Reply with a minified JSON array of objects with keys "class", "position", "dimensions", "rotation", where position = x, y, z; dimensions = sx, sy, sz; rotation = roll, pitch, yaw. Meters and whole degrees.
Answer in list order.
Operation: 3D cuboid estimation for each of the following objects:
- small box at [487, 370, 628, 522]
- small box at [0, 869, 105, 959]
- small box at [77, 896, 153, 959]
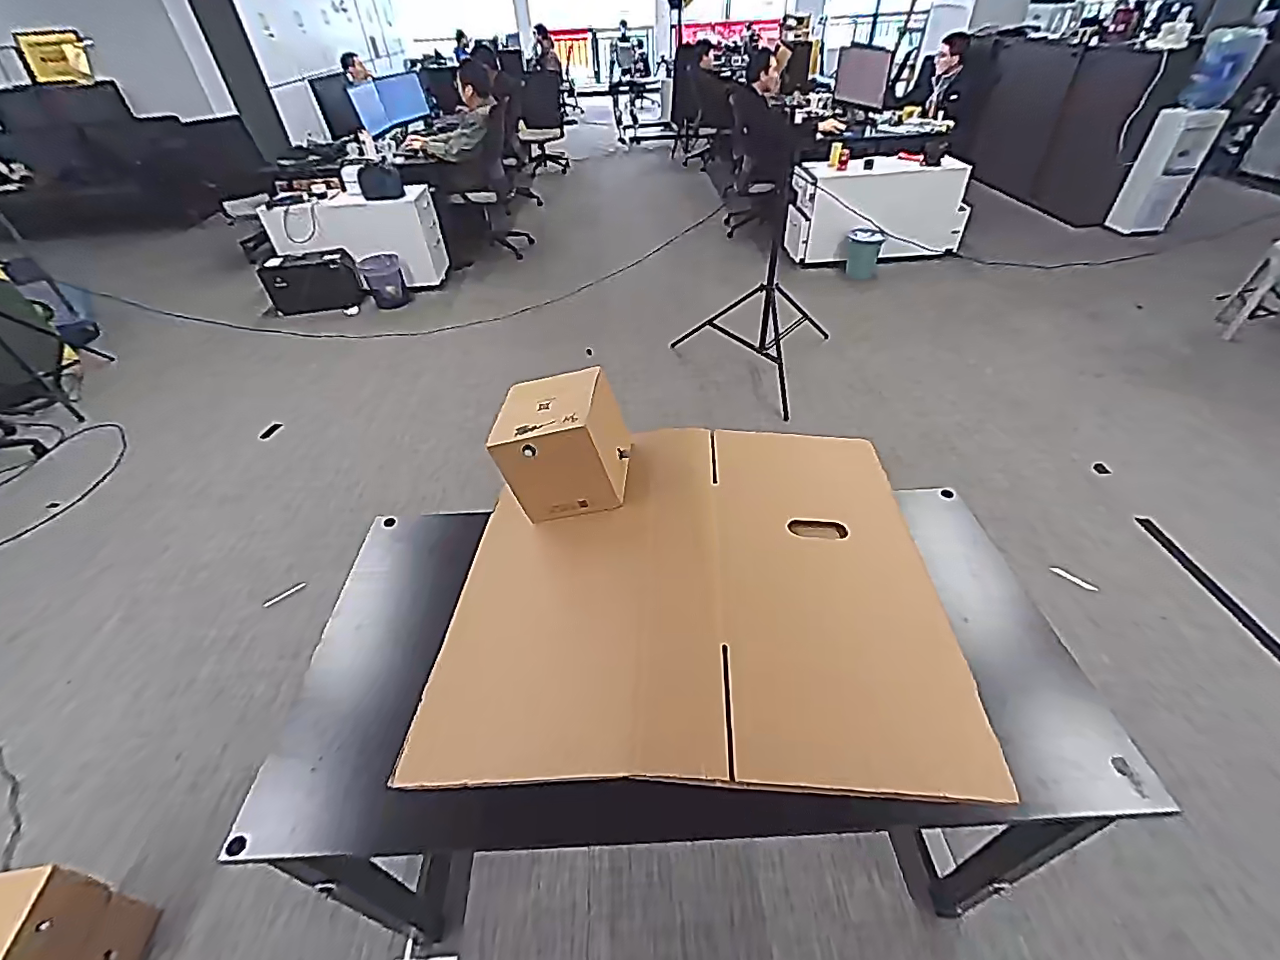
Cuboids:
[{"class":"small box","position":[-0.124,-0.055,0.904],"dimensions":[0.168,0.176,0.179],"rotation":[-11,38,14]},{"class":"small box","position":[-1.179,0.868,1.011],"dimensions":[0.168,0.176,0.179],"rotation":[-7,40,-6]},{"class":"small box","position":[-1.170,0.993,1.114],"dimensions":[0.168,0.176,0.179],"rotation":[-6,42,-3]}]
